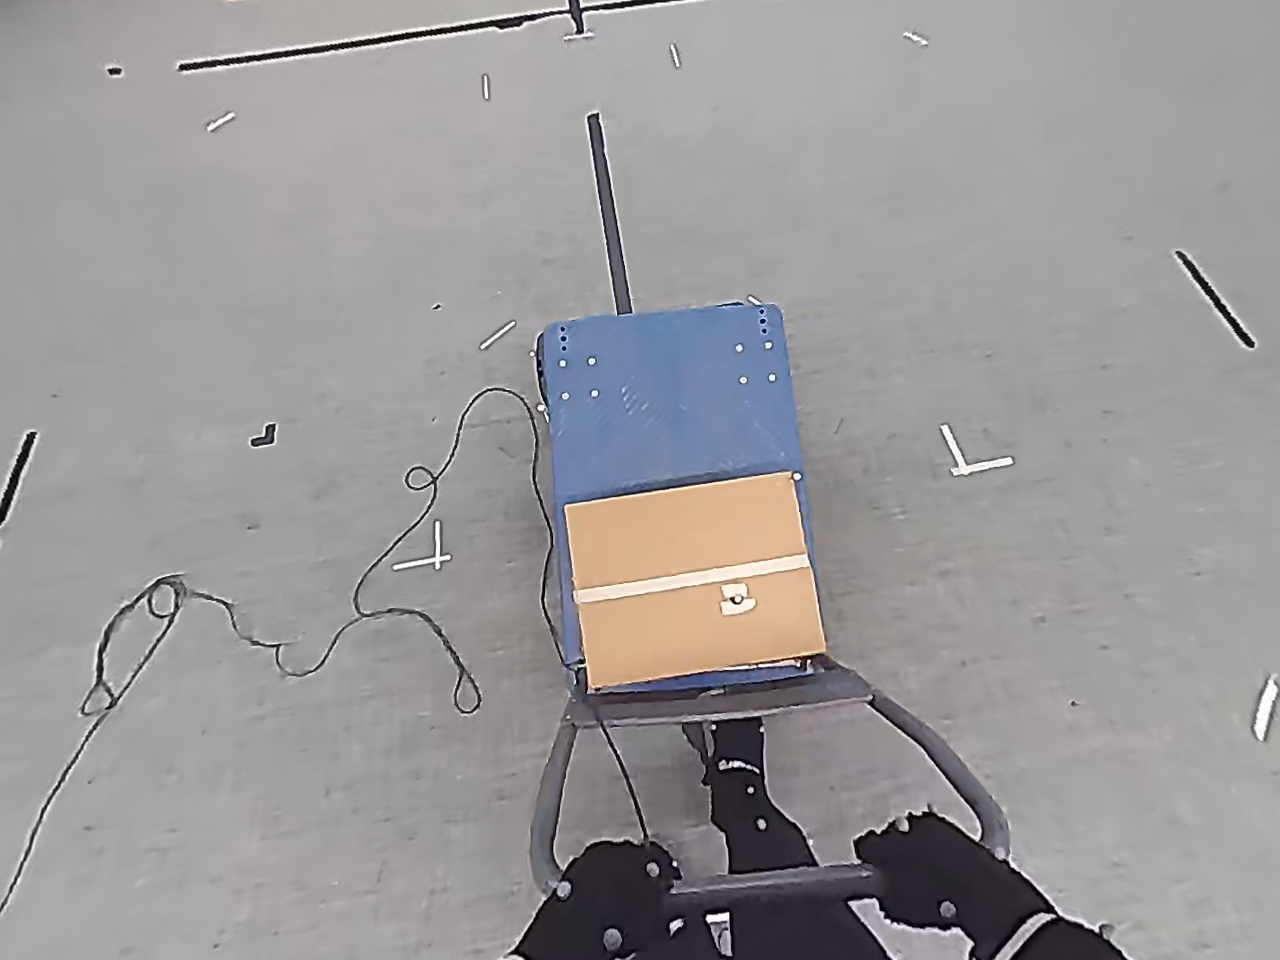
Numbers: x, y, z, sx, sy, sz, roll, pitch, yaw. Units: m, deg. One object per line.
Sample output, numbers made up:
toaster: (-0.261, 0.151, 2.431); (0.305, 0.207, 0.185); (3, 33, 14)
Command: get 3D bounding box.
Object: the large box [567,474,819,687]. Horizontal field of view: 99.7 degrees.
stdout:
large box: (0.087, 0.192, 1.091); (0.408, 0.320, 0.320); (-9, 83, -2)
